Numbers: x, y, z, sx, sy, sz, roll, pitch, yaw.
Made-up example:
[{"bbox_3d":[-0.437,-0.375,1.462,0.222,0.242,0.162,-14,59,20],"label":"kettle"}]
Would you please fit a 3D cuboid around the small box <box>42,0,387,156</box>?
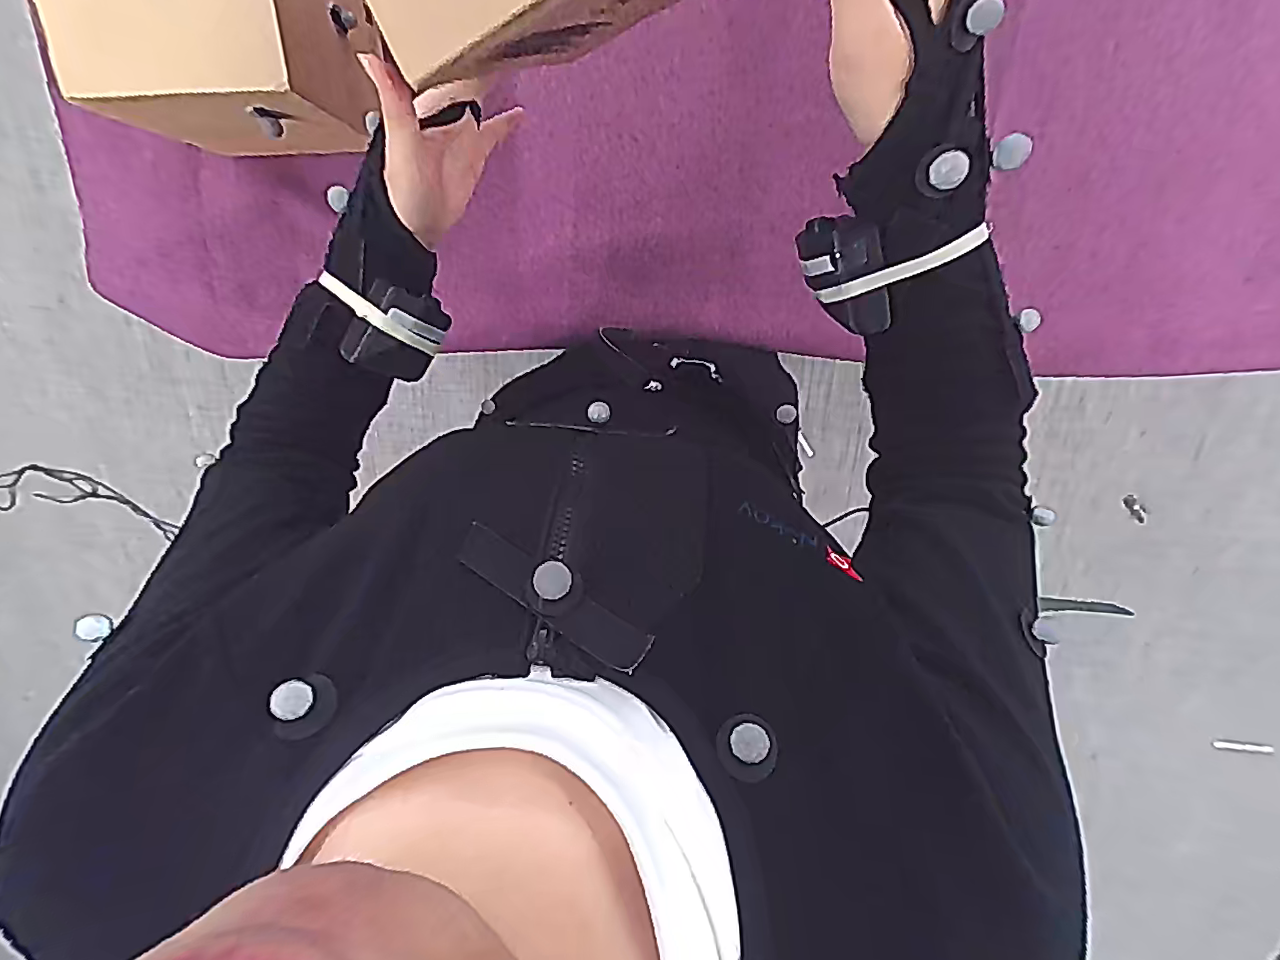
[{"bbox_3d":[-0.332,-0.382,0.446,0.179,0.176,0.168,0,108,2],"label":"small box"}]
